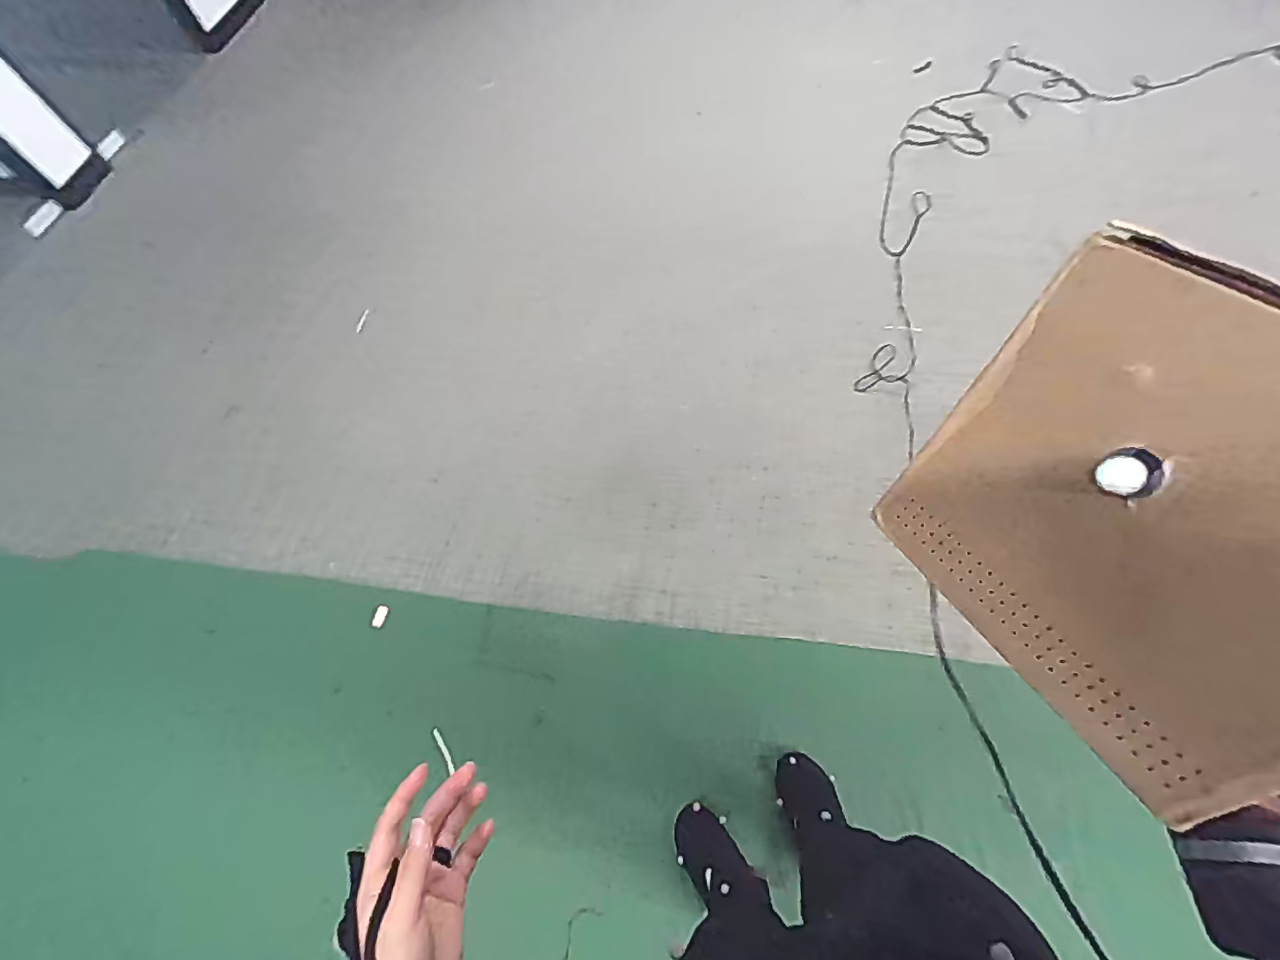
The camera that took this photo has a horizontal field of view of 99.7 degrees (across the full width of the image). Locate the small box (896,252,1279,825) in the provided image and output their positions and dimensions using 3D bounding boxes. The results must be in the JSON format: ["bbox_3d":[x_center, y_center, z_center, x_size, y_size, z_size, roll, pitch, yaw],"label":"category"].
[{"bbox_3d":[0.267,0.017,0.256,0.168,0.176,0.179,-8,46,-30],"label":"small box"}]
